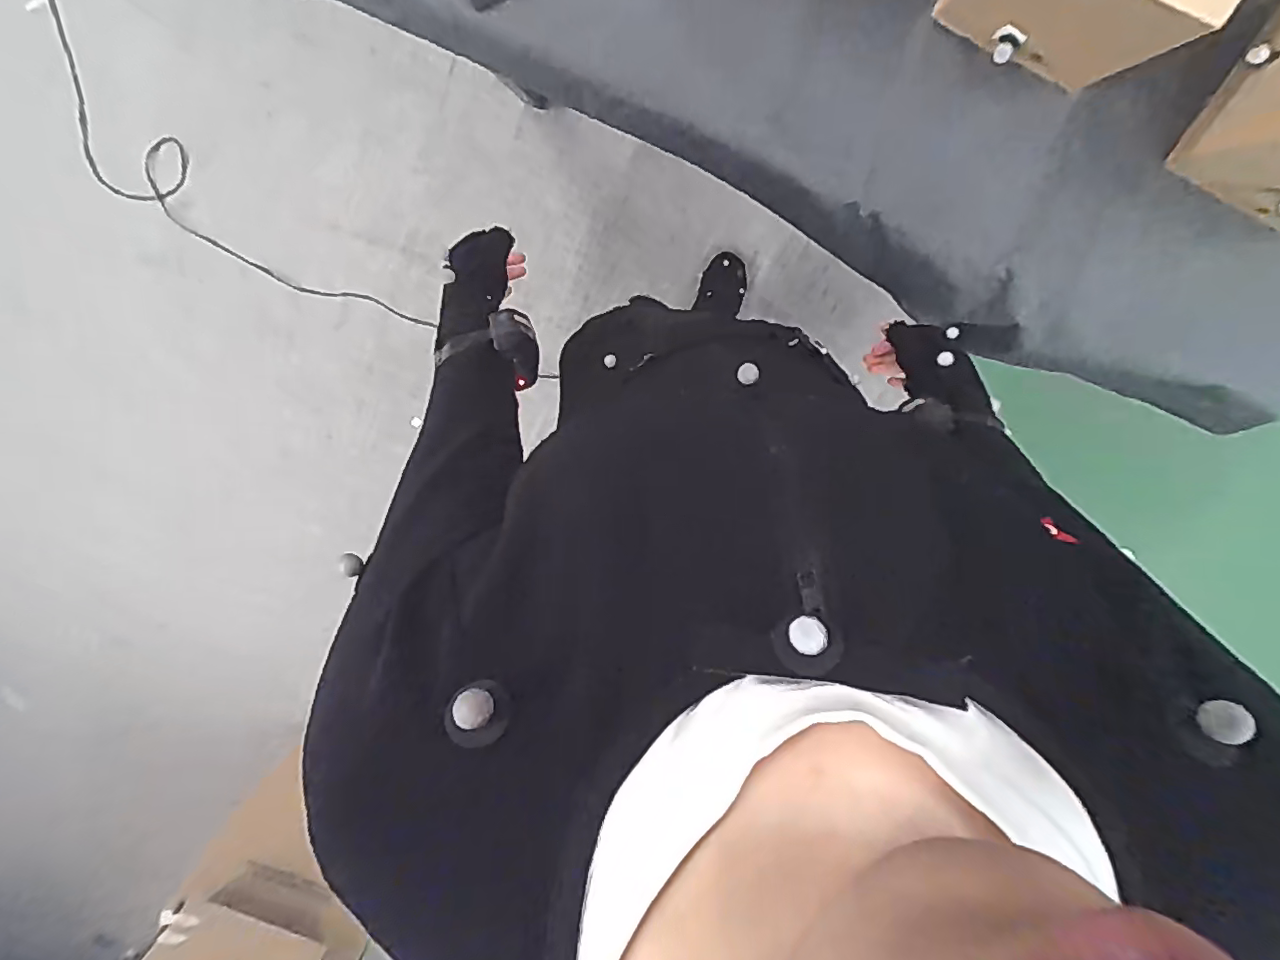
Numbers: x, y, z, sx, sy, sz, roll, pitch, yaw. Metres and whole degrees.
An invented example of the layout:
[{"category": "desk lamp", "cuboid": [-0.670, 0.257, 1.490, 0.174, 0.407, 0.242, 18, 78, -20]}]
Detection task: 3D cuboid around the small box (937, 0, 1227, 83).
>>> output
[{"category": "small box", "cuboid": [0.376, -0.462, 0.426, 0.168, 0.176, 0.179, 22, 114, -3]}]
